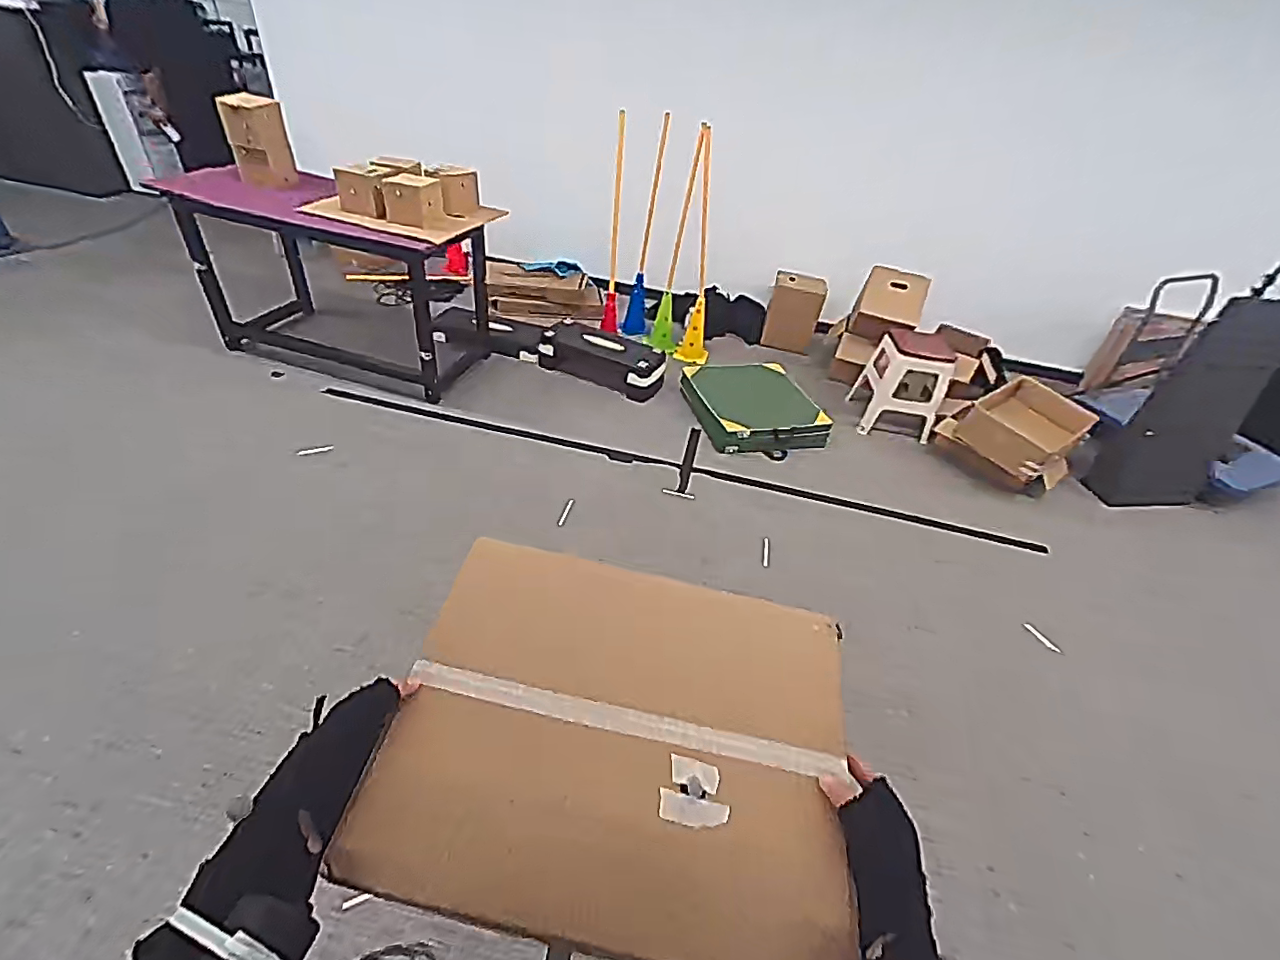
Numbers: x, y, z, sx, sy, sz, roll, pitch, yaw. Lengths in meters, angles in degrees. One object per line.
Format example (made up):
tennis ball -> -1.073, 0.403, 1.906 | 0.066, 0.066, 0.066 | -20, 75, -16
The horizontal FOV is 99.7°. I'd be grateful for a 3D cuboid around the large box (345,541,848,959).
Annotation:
large box -> -0.031, 0.315, 0.619 | 0.408, 0.320, 0.320 | 13, 50, 1
